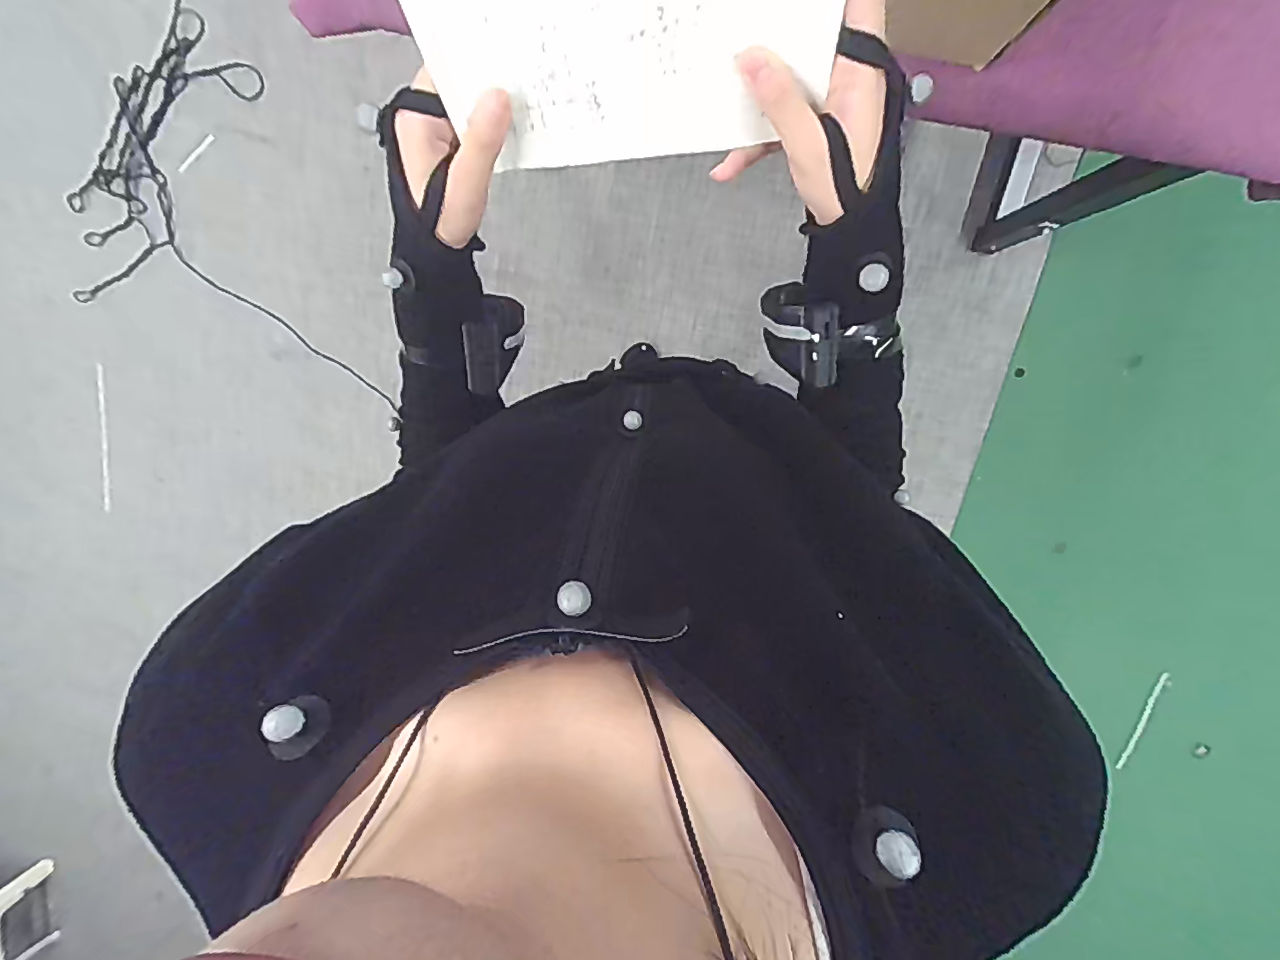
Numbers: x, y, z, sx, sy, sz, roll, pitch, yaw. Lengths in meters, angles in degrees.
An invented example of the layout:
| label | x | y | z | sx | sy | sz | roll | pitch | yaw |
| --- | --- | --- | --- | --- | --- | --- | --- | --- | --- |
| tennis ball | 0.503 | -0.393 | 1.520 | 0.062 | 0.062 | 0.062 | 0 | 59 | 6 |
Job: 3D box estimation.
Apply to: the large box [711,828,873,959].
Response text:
| label | x | y | z | sx | sy | sz | roll | pitch | yaw |
| --- | --- | --- | --- | --- | --- | --- | --- | --- | --- |
| large box | 0.423 | 1.276 | 1.584 | 0.408 | 0.320 | 0.320 | -2 | 102 | 5 |

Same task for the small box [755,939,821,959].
| label | x | y | z | sx | sy | sz | roll | pitch | yaw |
| --- | --- | --- | --- | --- | --- | --- | --- | --- | --- |
| small box | 0.373 | 1.296 | 1.340 | 0.168 | 0.176 | 0.179 | 4 | 101 | 6 |
